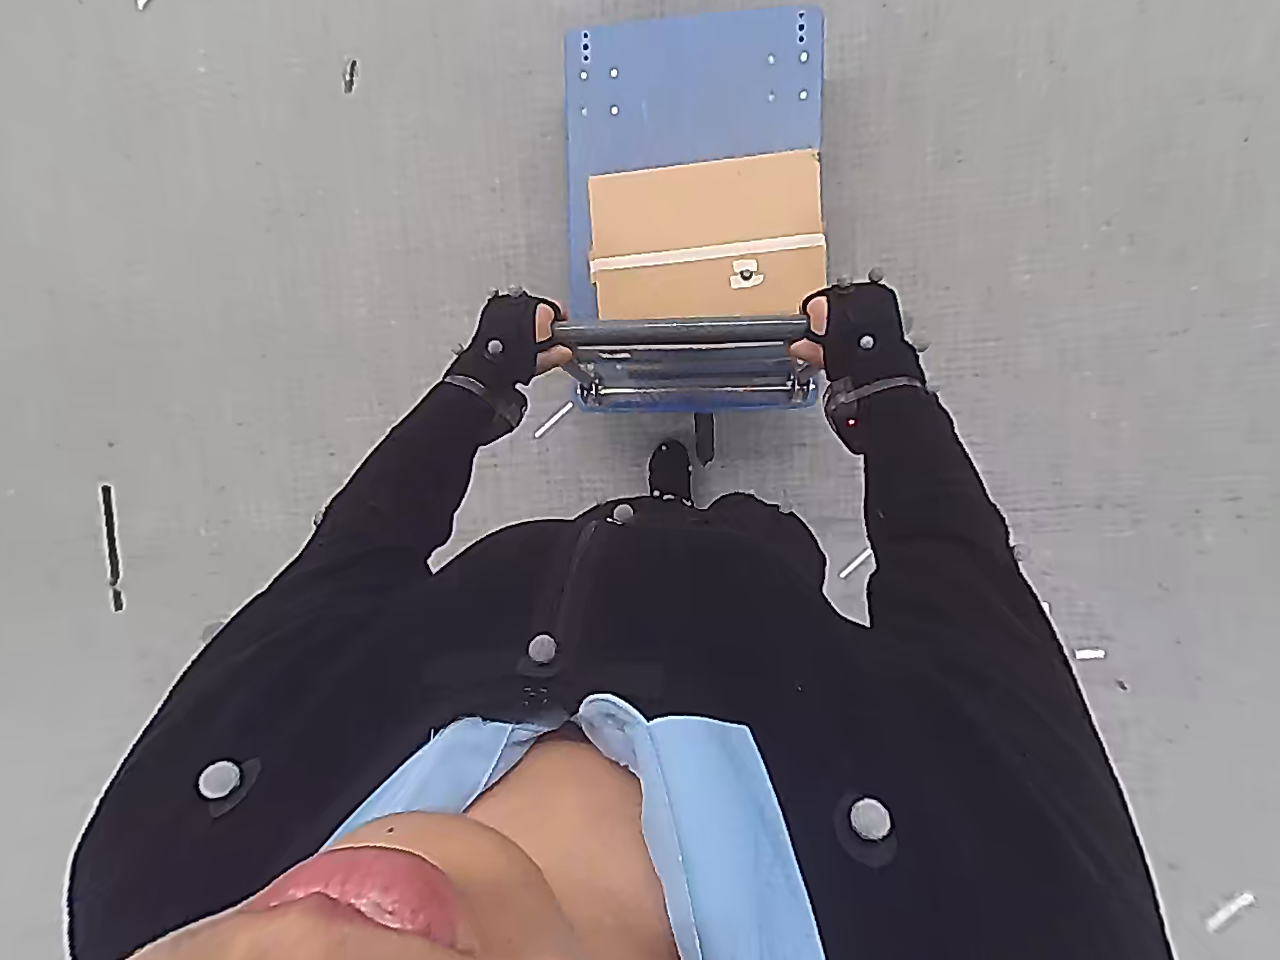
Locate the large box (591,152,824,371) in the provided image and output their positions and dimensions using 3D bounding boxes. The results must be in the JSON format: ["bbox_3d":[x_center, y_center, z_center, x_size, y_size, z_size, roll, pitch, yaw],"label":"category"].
[{"bbox_3d":[0.131,-0.417,1.121,0.408,0.320,0.320,-4,95,5],"label":"large box"}]
